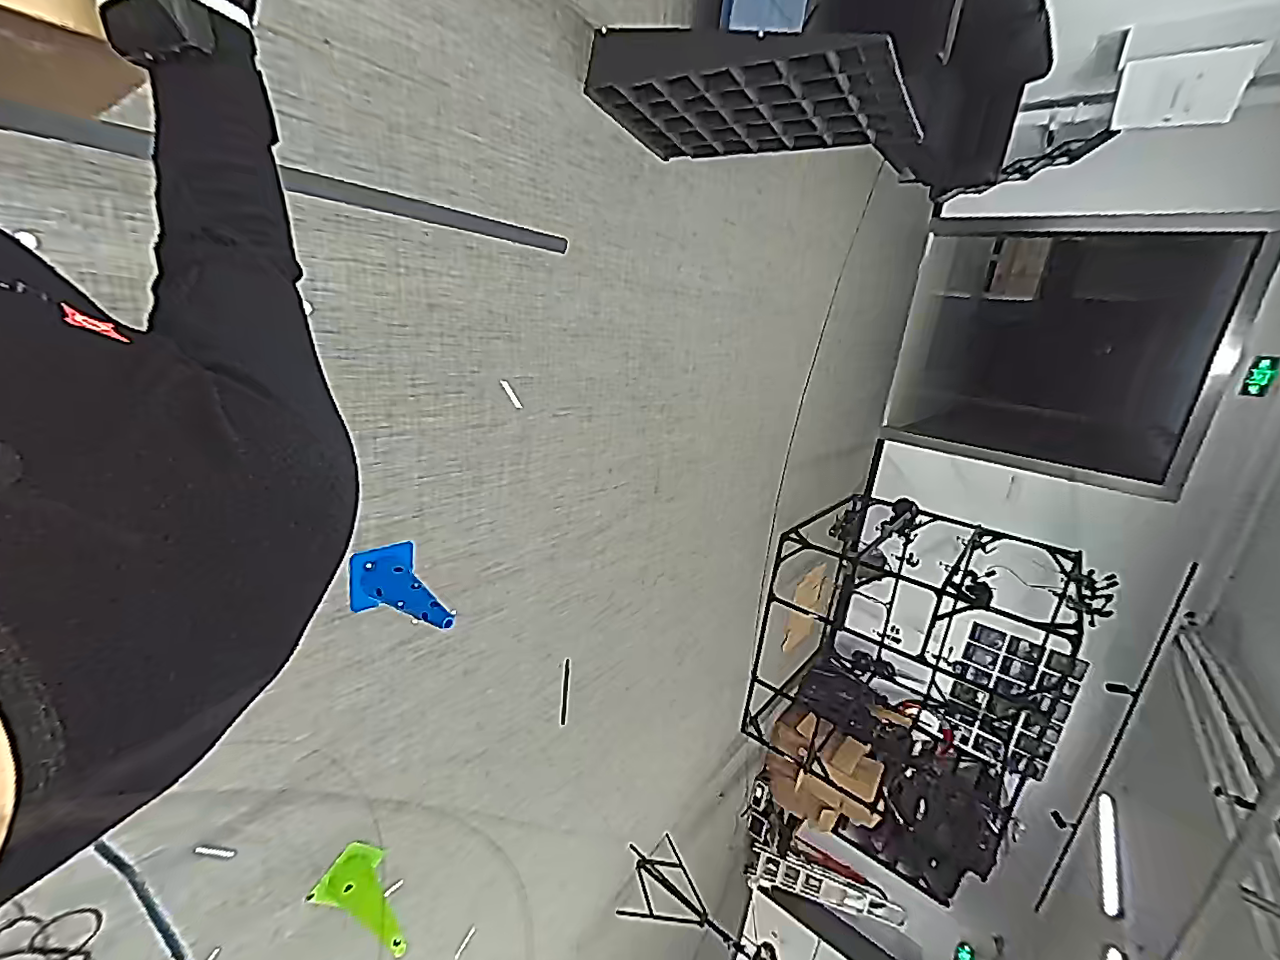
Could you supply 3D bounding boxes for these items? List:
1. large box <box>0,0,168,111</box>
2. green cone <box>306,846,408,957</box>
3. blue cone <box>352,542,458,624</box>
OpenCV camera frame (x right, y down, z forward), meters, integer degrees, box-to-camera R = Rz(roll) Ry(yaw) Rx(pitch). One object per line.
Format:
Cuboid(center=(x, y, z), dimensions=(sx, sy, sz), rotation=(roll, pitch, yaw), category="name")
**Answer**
Cuboid(center=(-0.564, -0.451, 0.278), dimensions=(0.408, 0.320, 0.320), rotation=(-15, 117, -51), category="large box")
Cuboid(center=(-0.890, 1.435, 1.790), dimensions=(0.202, 0.368, 0.200), rotation=(-53, 142, -27), category="green cone")
Cuboid(center=(-0.677, 0.339, 1.602), dimensions=(0.192, 0.380, 0.193), rotation=(-10, 114, -53), category="blue cone")
